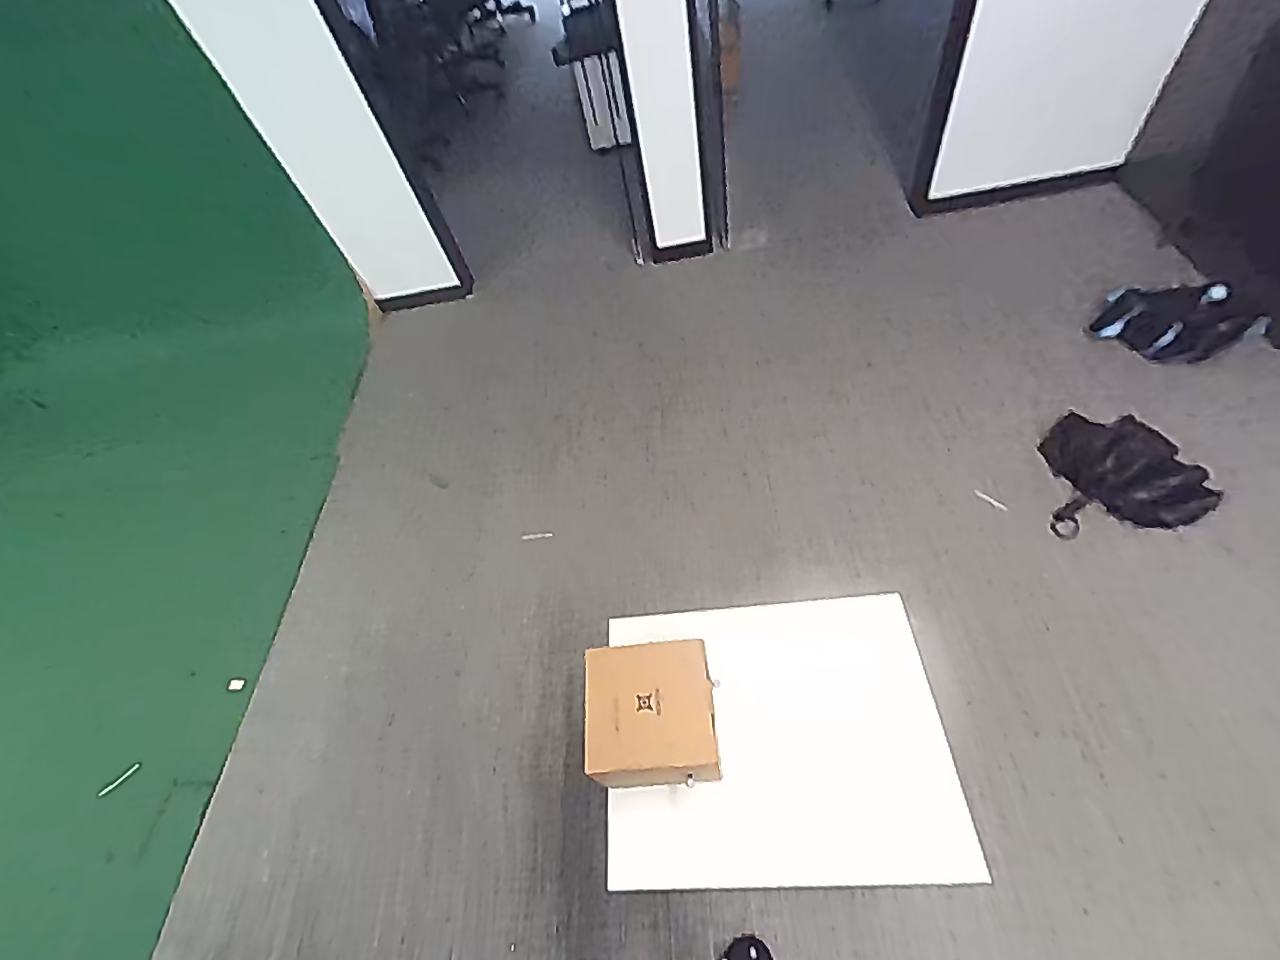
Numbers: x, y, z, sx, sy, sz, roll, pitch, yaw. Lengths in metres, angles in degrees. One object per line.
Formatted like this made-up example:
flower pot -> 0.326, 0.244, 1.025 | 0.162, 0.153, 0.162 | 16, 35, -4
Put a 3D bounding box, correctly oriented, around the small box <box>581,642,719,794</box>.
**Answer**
small box -> 0.018, 0.350, 0.787 | 0.179, 0.176, 0.168 | -7, 52, 5
